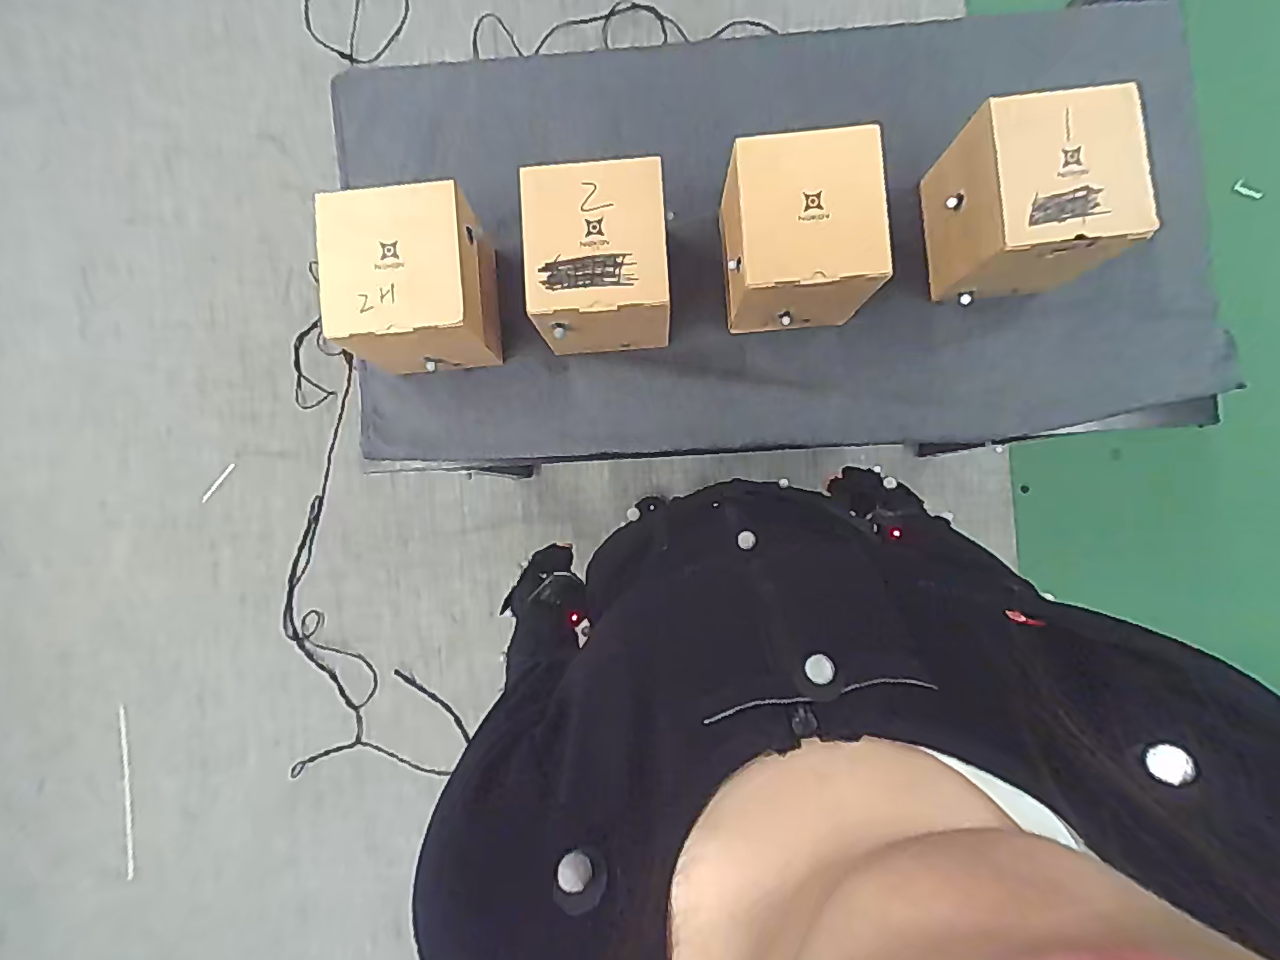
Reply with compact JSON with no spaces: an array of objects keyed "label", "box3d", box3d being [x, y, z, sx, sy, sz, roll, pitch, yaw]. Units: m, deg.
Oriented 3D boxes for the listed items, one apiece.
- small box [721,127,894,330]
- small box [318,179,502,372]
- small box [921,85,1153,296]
[{"label":"small box","box3d":[0.200,-0.307,0.692,0.168,0.176,0.179,-5,89,1]},{"label":"small box","box3d":[-0.285,-0.251,0.699,0.168,0.176,0.179,-5,87,1]},{"label":"small box","box3d":[0.480,-0.344,0.681,0.168,0.176,0.179,-5,87,2]}]
